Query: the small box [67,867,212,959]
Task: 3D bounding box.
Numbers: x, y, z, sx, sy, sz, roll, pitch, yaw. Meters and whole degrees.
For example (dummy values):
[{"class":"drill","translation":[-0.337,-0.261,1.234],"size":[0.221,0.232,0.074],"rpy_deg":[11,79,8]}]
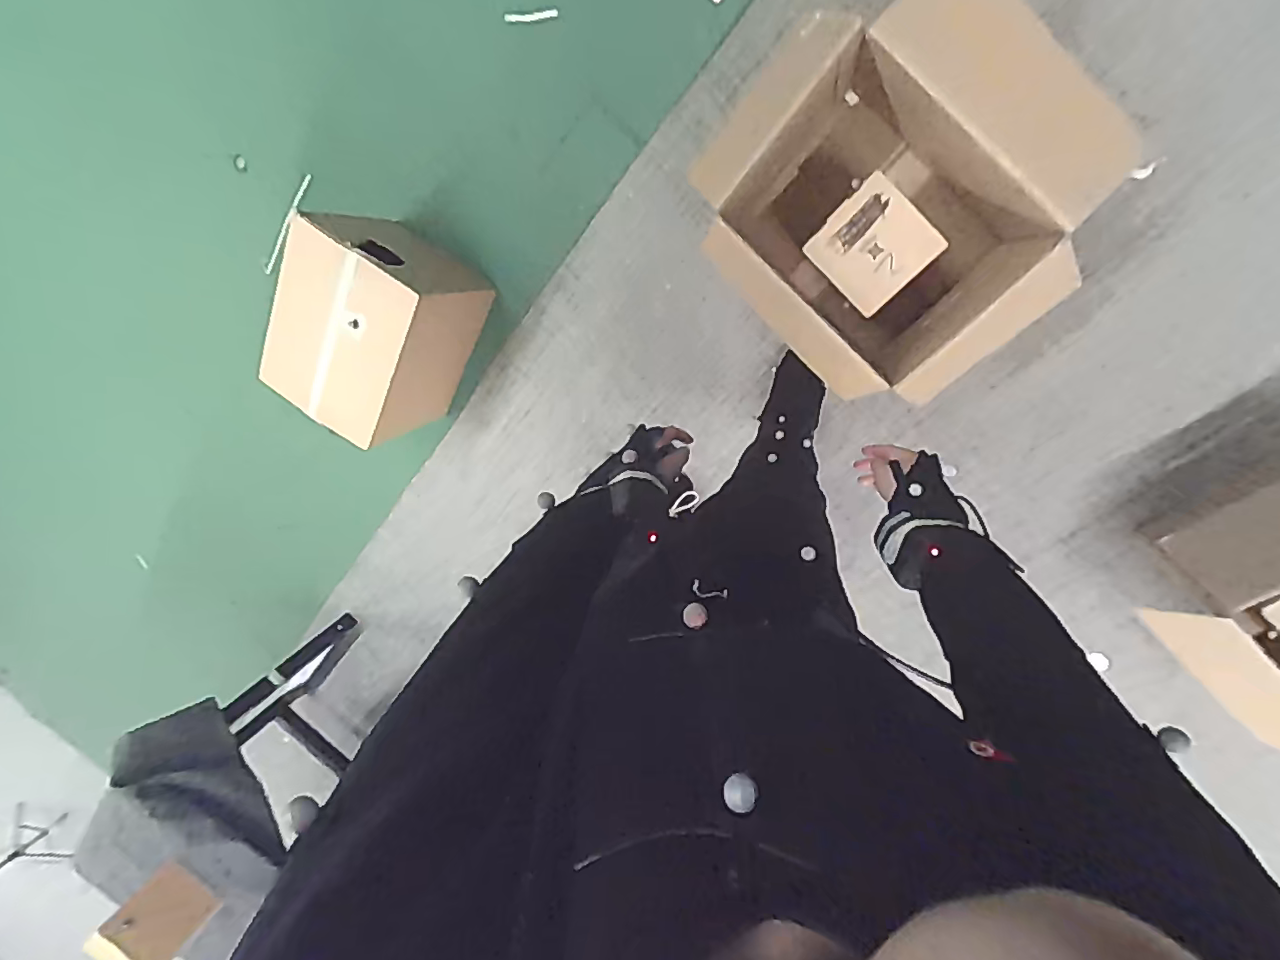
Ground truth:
[{"class":"small box","translation":[-1.157,1.055,1.260],"size":[0.179,0.176,0.168],"rpy_deg":[46,116,-4]}]
